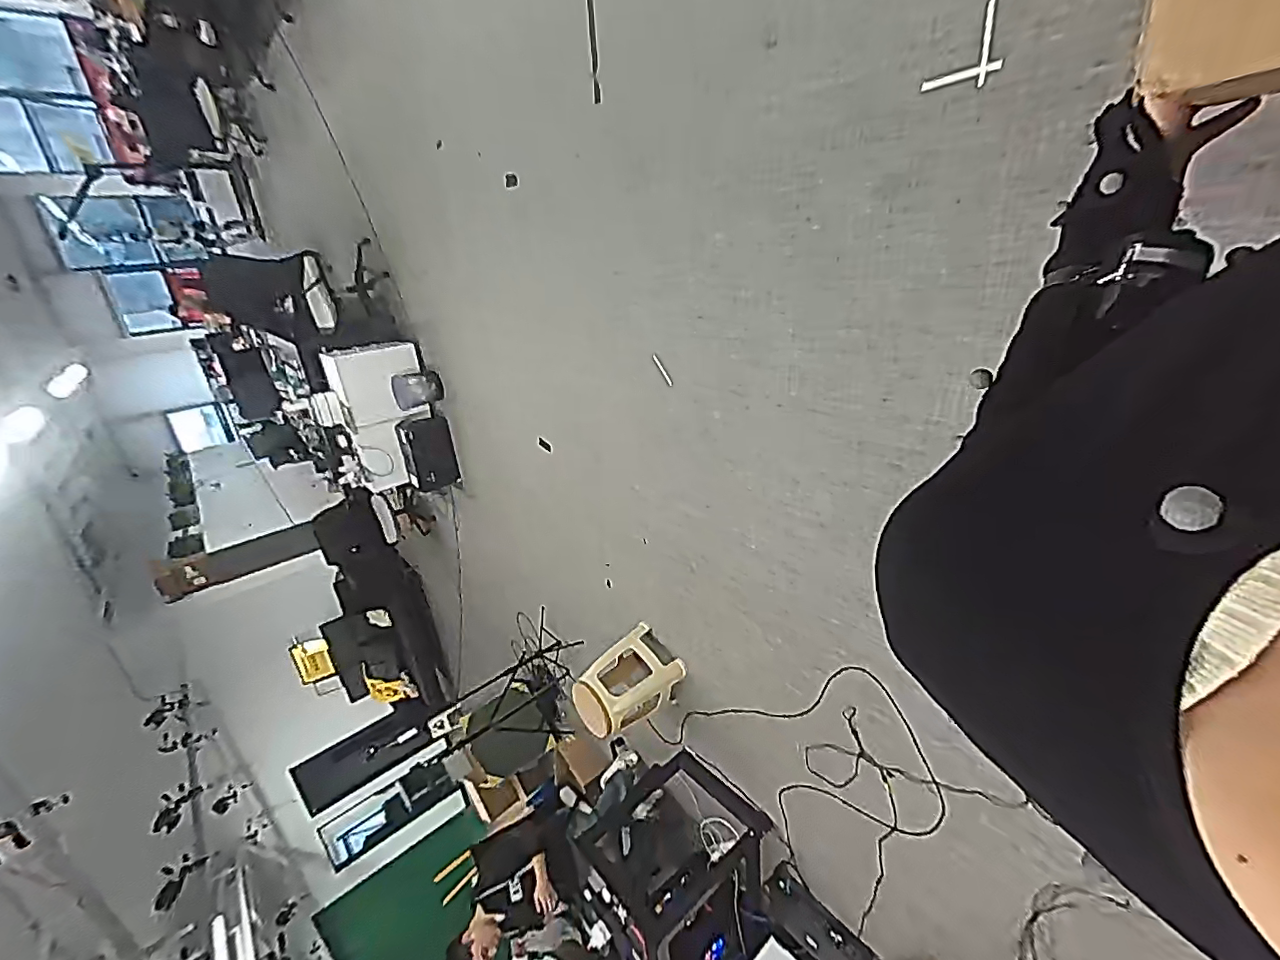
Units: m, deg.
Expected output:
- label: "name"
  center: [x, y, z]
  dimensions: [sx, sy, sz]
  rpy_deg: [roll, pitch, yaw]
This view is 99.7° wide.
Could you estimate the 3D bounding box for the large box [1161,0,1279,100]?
- label: "large box"
  center: [0.422, -0.328, 0.116]
  dimensions: [0.408, 0.320, 0.320]
  rpy_deg: [13, 124, 43]
